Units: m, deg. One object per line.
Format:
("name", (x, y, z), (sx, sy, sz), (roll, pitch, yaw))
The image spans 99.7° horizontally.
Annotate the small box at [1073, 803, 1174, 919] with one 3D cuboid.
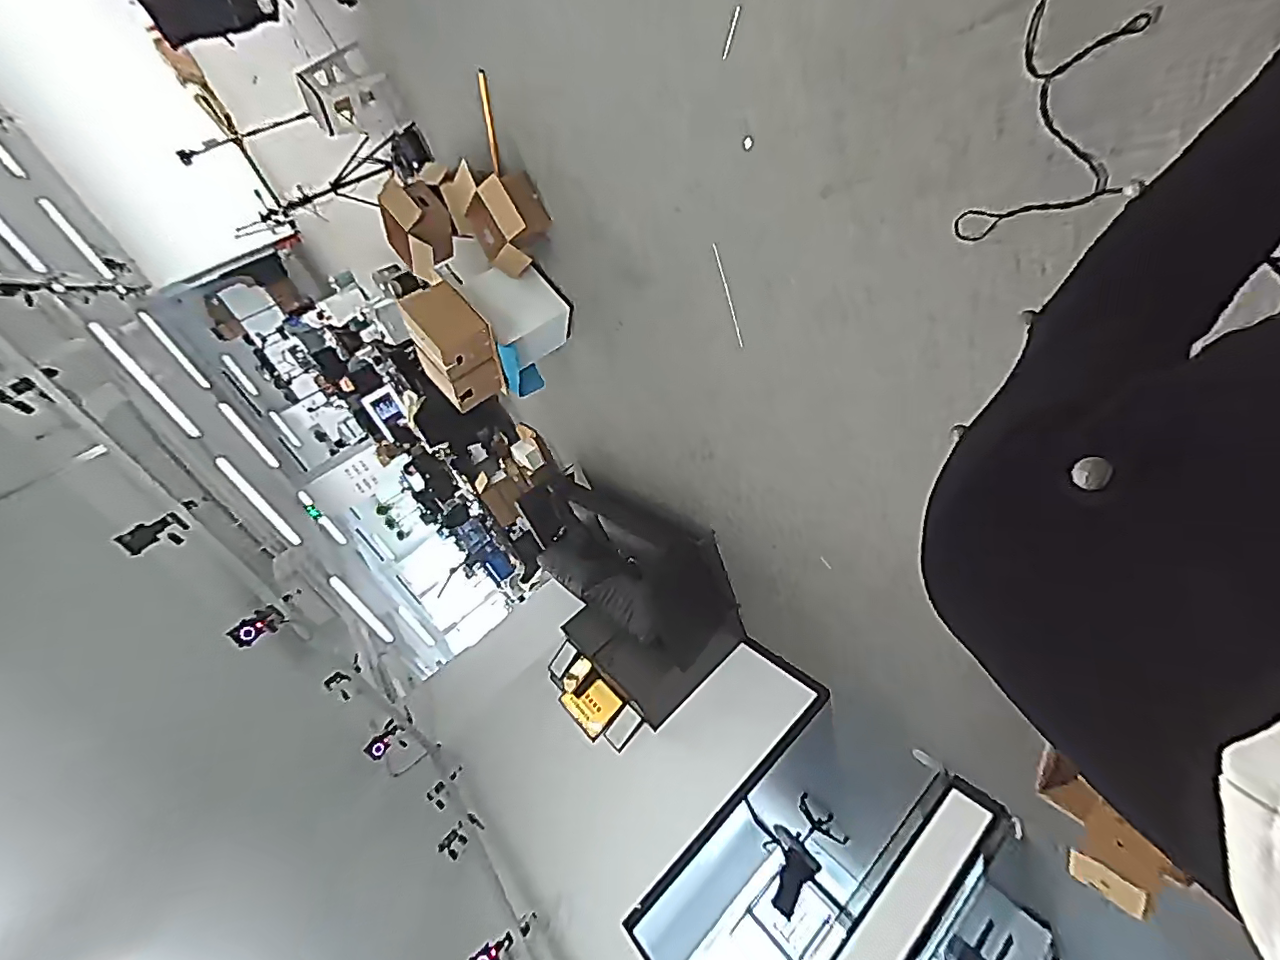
("small box", (1.351, 1.057, 1.514), (0.168, 0.176, 0.179), (24, 144, 53))
